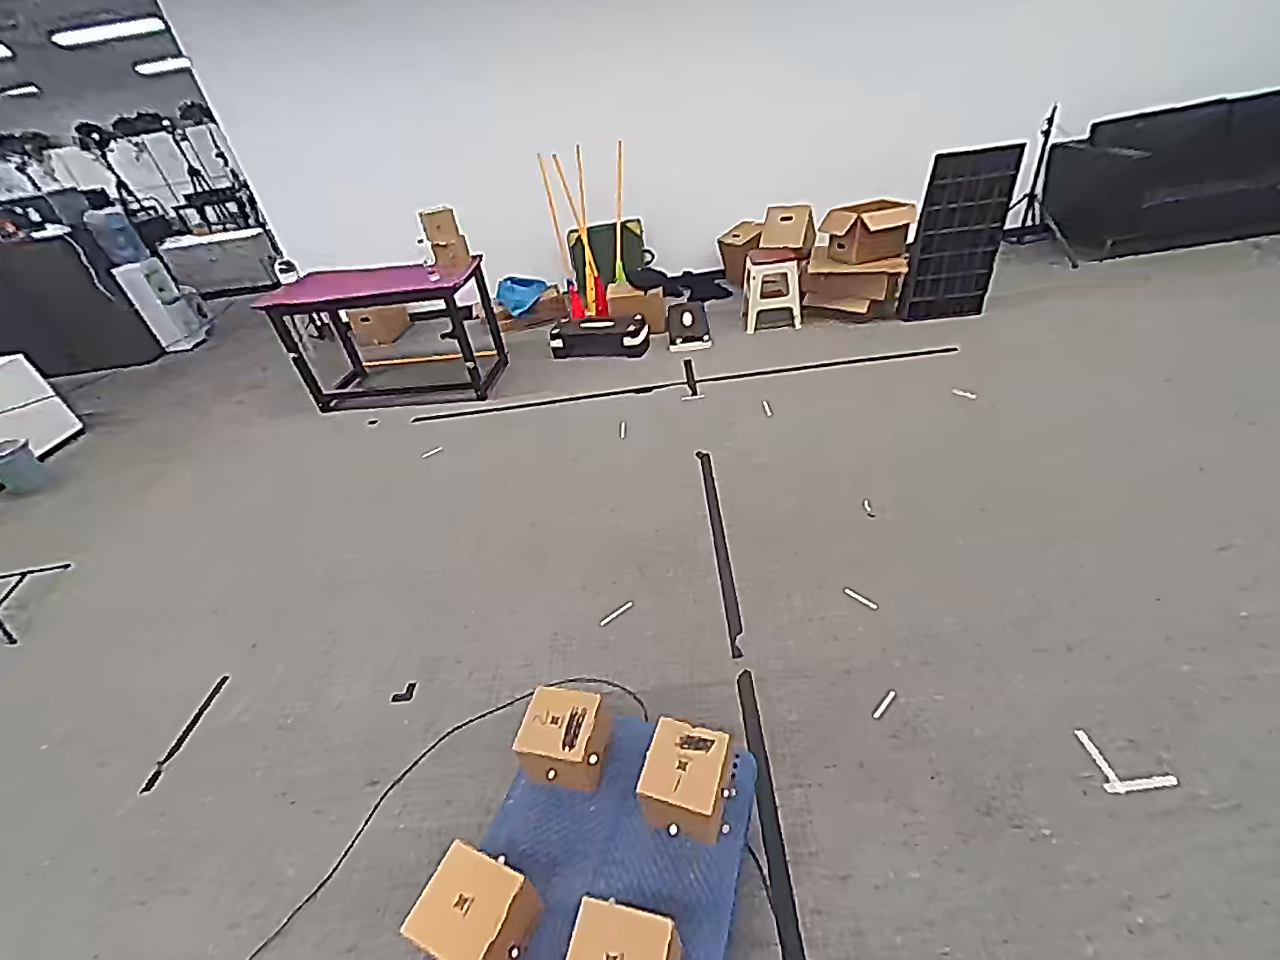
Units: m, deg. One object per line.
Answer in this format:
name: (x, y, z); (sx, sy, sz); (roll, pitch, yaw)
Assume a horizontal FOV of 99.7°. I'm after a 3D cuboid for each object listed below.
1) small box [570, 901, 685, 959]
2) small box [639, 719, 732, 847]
small box: (-0.025, 0.892, 0.961); (0.179, 0.176, 0.168); (2, 38, 16)
small box: (0.110, 0.678, 1.216); (0.168, 0.176, 0.179); (6, 40, 20)
